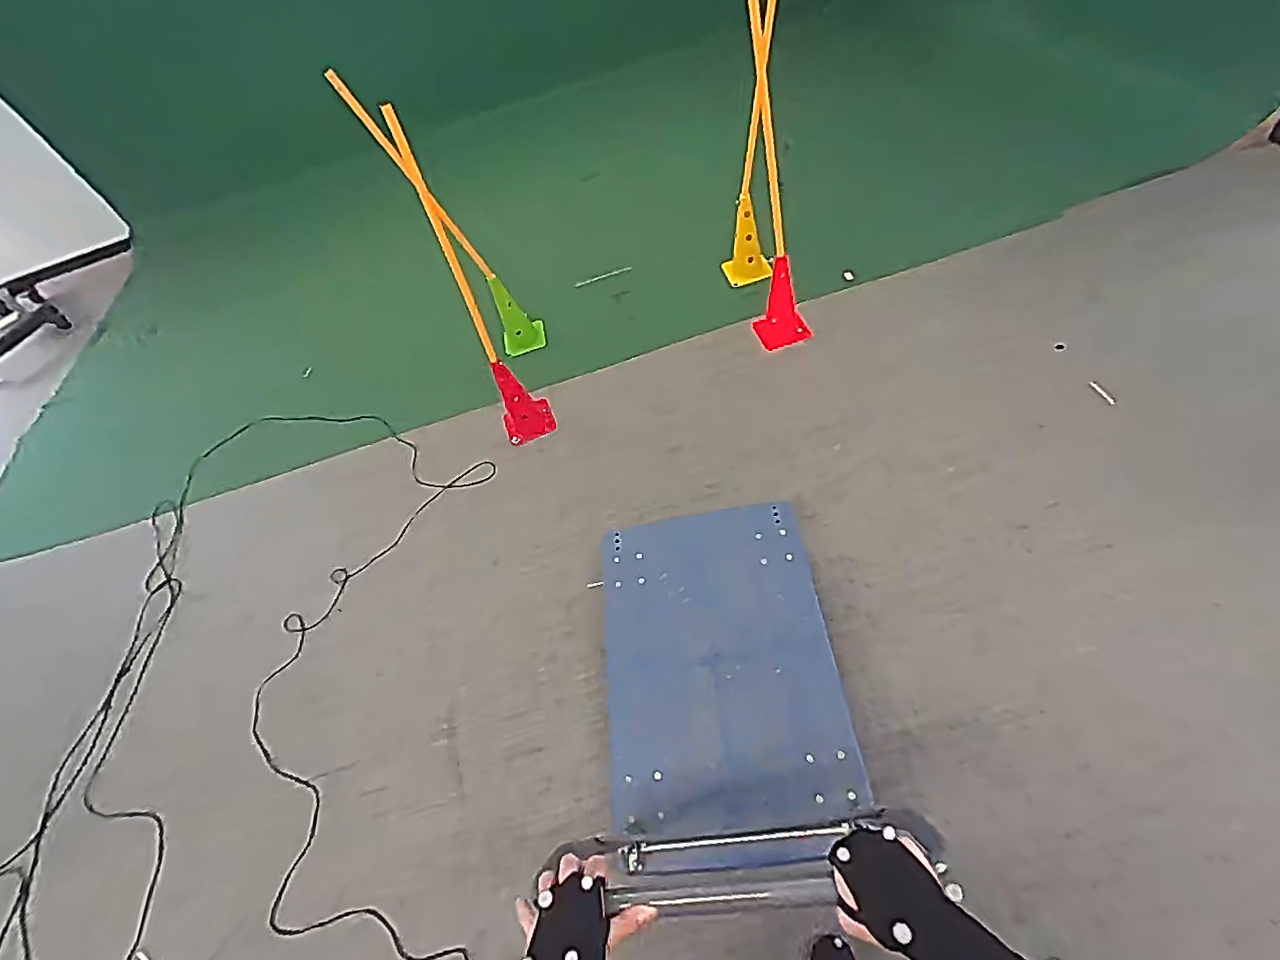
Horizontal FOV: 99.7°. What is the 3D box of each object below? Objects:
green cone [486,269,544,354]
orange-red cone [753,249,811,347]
[{"bbox_3d":[-0.594,-0.782,2.435,0.200,0.368,0.202,-18,52,3],"label":"green cone"},{"bbox_3d":[0.549,-0.731,2.106,0.198,0.360,0.199,-17,52,2],"label":"orange-red cone"}]
